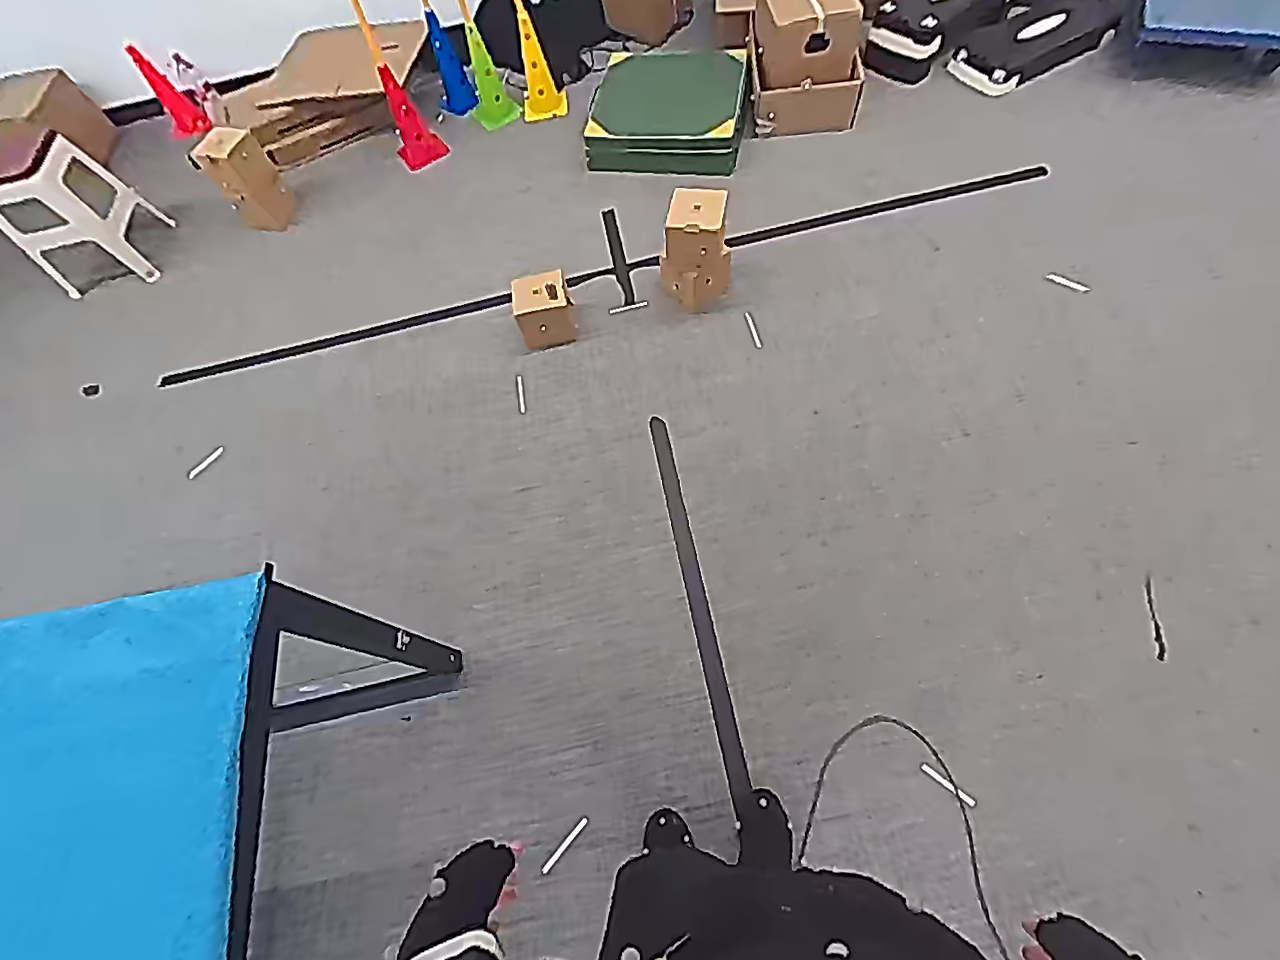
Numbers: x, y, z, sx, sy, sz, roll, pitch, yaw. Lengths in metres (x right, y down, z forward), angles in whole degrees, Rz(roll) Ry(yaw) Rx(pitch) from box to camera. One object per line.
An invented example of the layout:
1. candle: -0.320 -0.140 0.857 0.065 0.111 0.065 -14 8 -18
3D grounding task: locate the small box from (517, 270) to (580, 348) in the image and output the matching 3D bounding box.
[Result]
1. small box: -0.305 -0.576 1.837 0.179 0.176 0.168 -11 63 3

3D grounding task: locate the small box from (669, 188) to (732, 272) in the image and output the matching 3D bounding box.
1. small box: 0.190 -0.775 1.685 0.168 0.176 0.179 9 65 10

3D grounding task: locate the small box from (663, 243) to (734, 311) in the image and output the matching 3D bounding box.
1. small box: 0.202 -0.713 1.838 0.179 0.176 0.168 -42 66 -14
